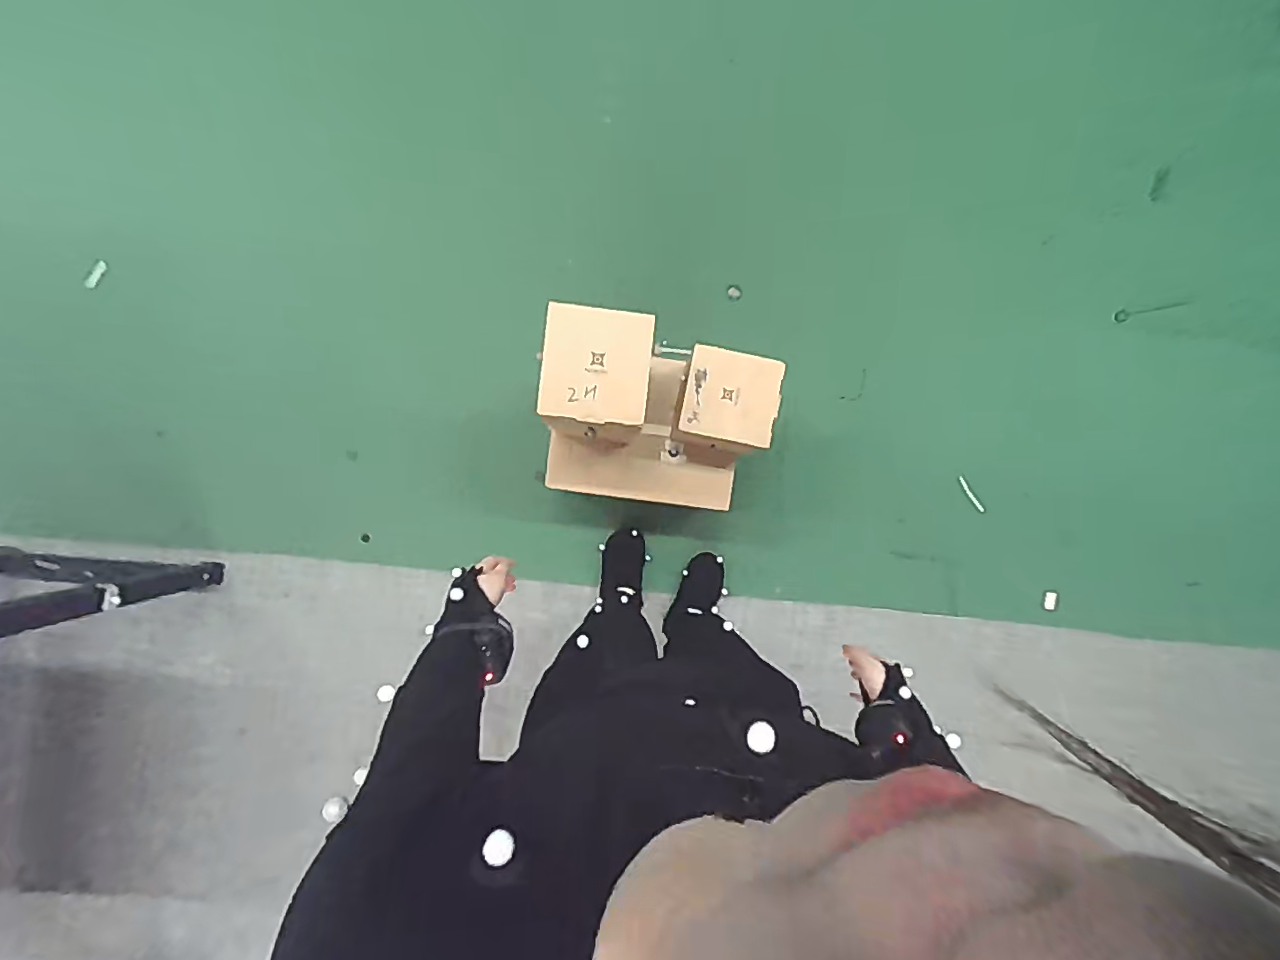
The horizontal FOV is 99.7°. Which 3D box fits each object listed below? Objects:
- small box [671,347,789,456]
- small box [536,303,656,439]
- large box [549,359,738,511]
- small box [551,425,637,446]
[{"bbox_3d":[0.168,-0.145,1.062,0.179,0.176,0.168,12,88,-2],"label":"small box"},{"bbox_3d":[-0.070,-0.169,0.891,0.168,0.176,0.179,6,89,-2],"label":"small box"},{"bbox_3d":[0.009,-0.103,1.301,0.408,0.320,0.320,7,90,-3],"label":"large box"},{"bbox_3d":[-0.080,-0.169,1.056,0.168,0.176,0.179,7,89,-3],"label":"small box"}]
